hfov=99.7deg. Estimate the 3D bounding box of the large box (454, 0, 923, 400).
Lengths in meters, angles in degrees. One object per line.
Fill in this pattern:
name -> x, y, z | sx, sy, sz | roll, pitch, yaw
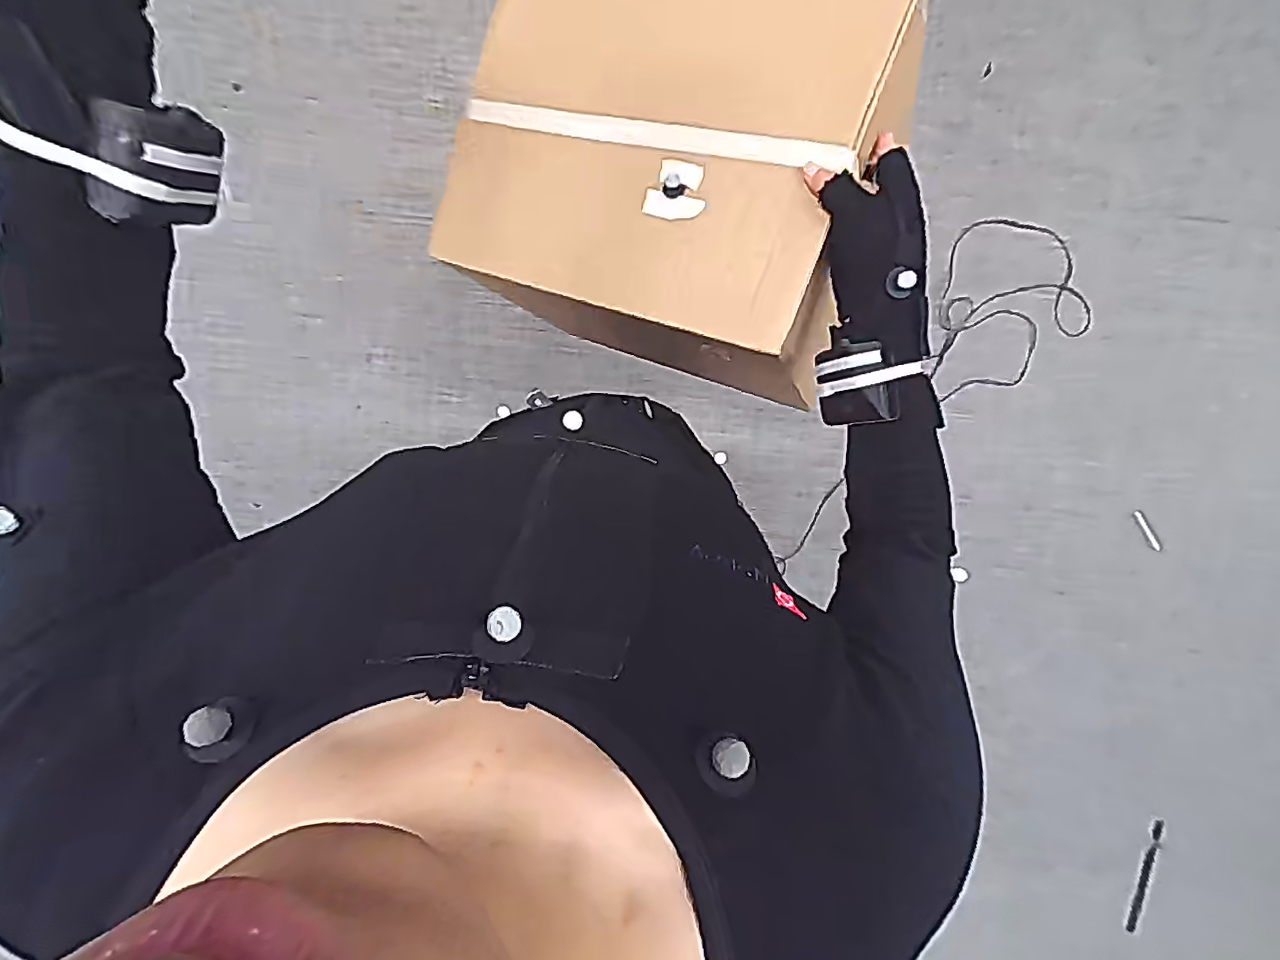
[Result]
large box -> 0.066, -0.323, 0.658 | 0.408, 0.320, 0.320 | 23, 97, 23
